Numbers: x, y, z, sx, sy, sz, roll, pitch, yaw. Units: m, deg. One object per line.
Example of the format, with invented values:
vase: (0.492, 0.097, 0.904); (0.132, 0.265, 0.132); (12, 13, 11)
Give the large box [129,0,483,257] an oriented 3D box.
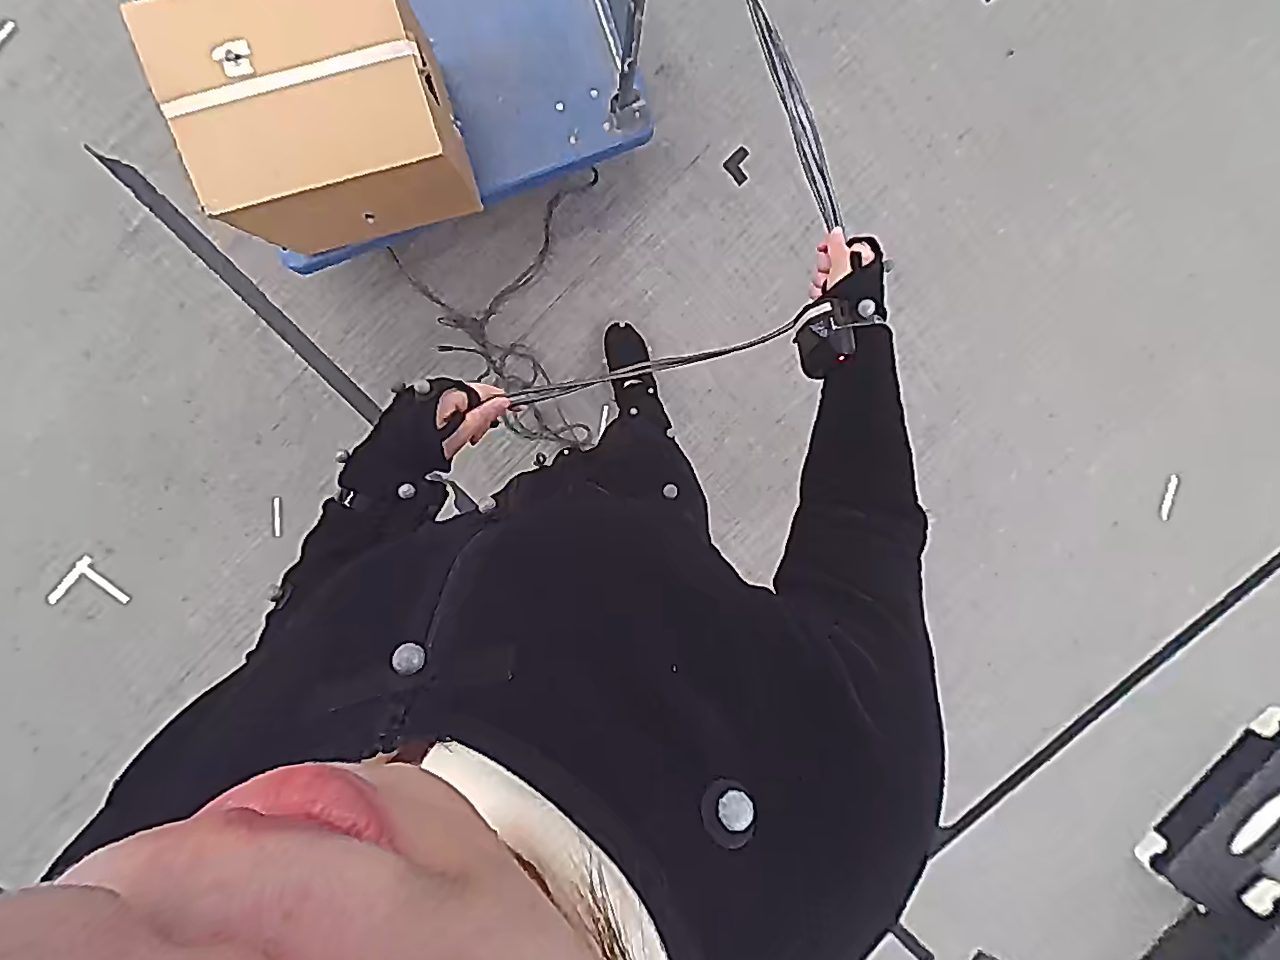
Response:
large box: (-0.558, -0.647, 0.998); (0.408, 0.320, 0.320); (-16, 101, -1)
